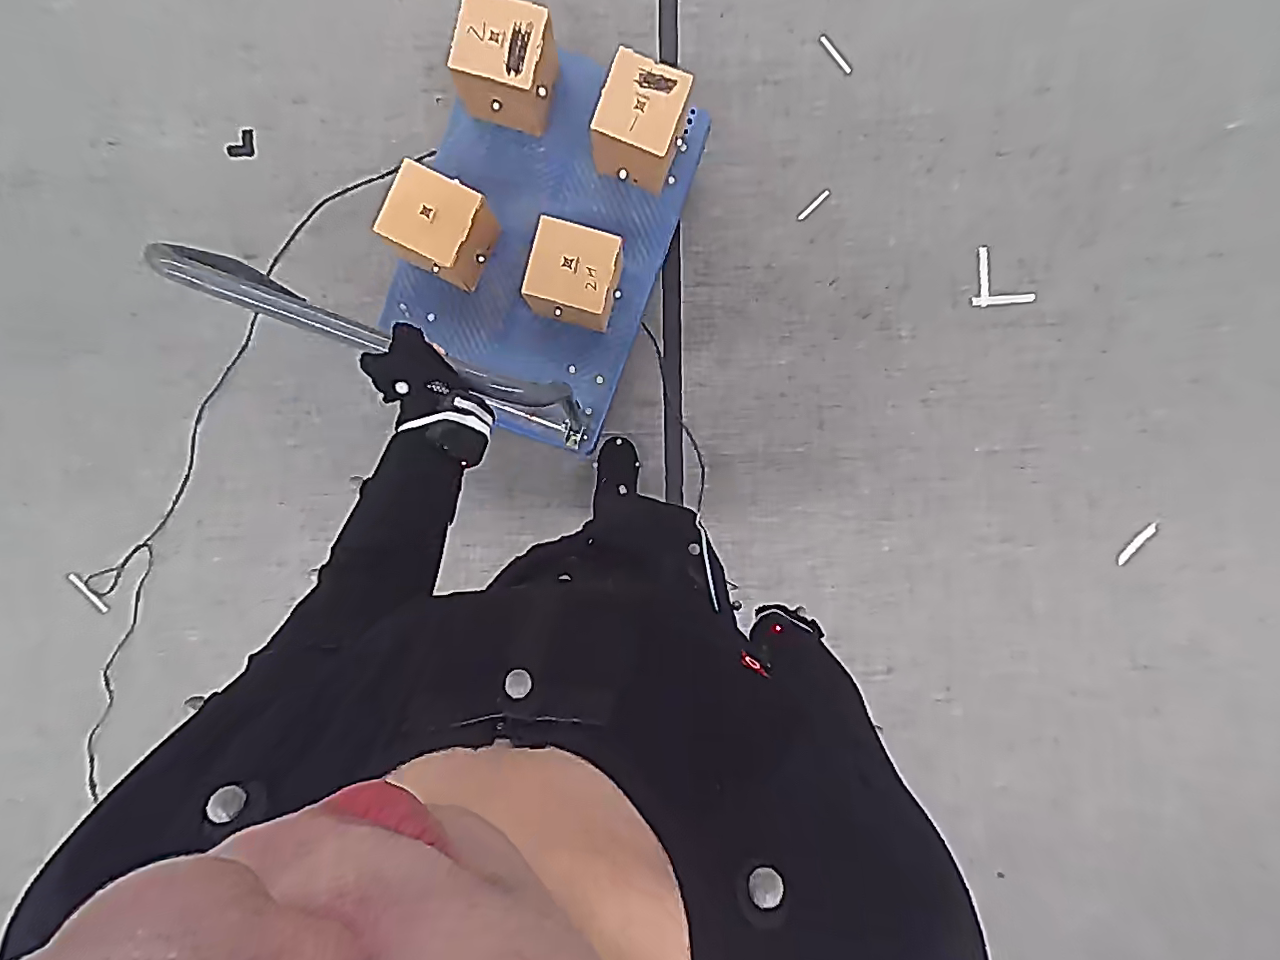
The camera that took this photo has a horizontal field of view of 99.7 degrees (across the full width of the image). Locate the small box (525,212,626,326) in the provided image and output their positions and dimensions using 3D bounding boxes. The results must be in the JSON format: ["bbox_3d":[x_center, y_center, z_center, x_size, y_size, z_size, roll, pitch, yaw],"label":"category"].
[{"bbox_3d":[-0.135,-0.453,1.190,0.179,0.176,0.168,15,93,-2],"label":"small box"}]

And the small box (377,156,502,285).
[{"bbox_3d":[-0.426,-0.552,1.178,0.179,0.176,0.168,25,92,-4],"label":"small box"}]

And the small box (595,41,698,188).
[{"bbox_3d":[0.010,-0.781,1.176,0.168,0.176,0.179,21,93,-2],"label":"small box"}]
